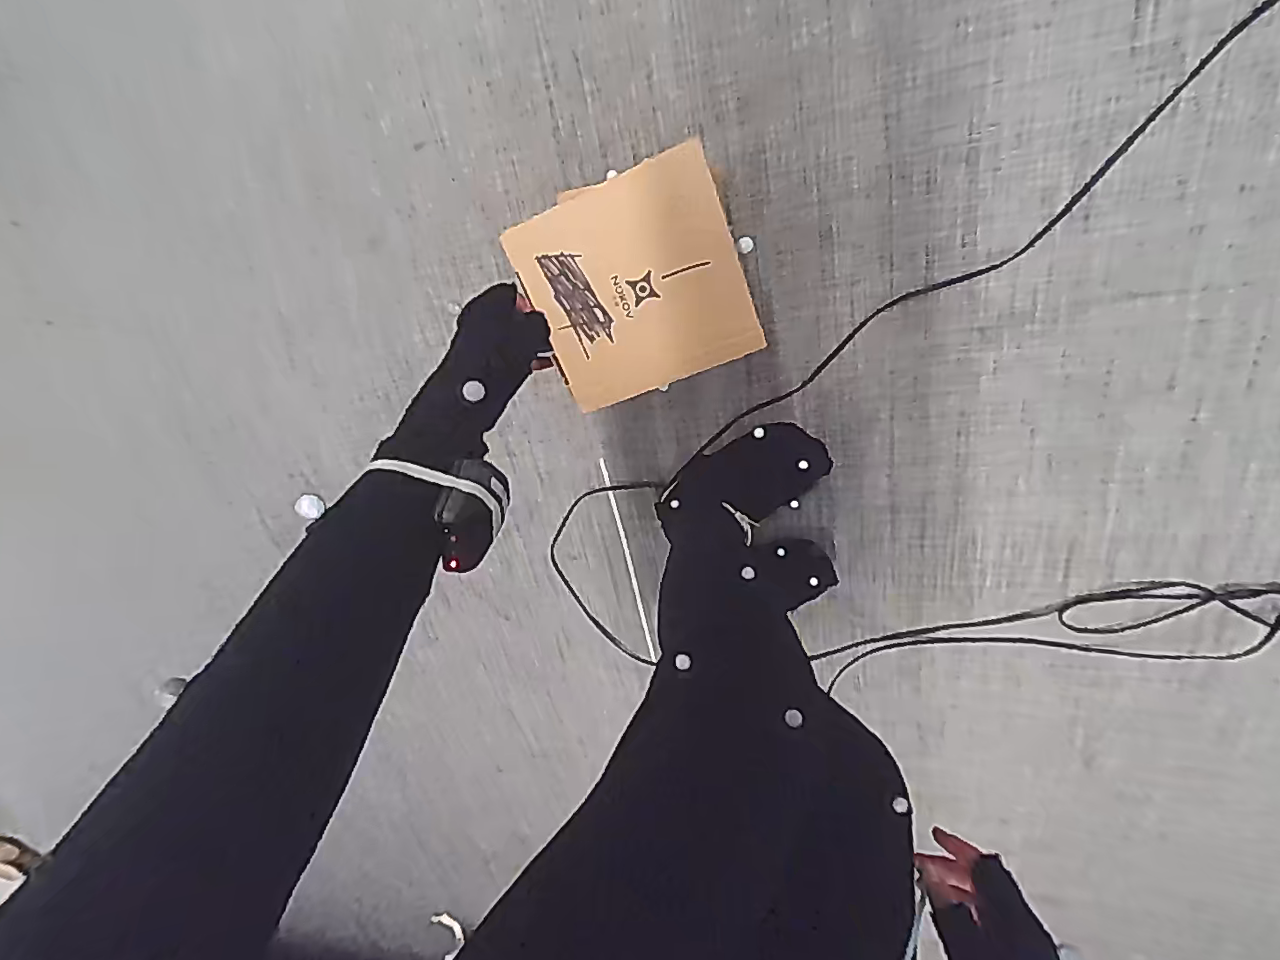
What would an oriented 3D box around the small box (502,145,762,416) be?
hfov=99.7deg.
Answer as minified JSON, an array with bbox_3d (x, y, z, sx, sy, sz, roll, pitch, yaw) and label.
[{"bbox_3d":[0.005,-0.184,0.516,0.179,0.176,0.168,-18,111,15],"label":"small box"}]
